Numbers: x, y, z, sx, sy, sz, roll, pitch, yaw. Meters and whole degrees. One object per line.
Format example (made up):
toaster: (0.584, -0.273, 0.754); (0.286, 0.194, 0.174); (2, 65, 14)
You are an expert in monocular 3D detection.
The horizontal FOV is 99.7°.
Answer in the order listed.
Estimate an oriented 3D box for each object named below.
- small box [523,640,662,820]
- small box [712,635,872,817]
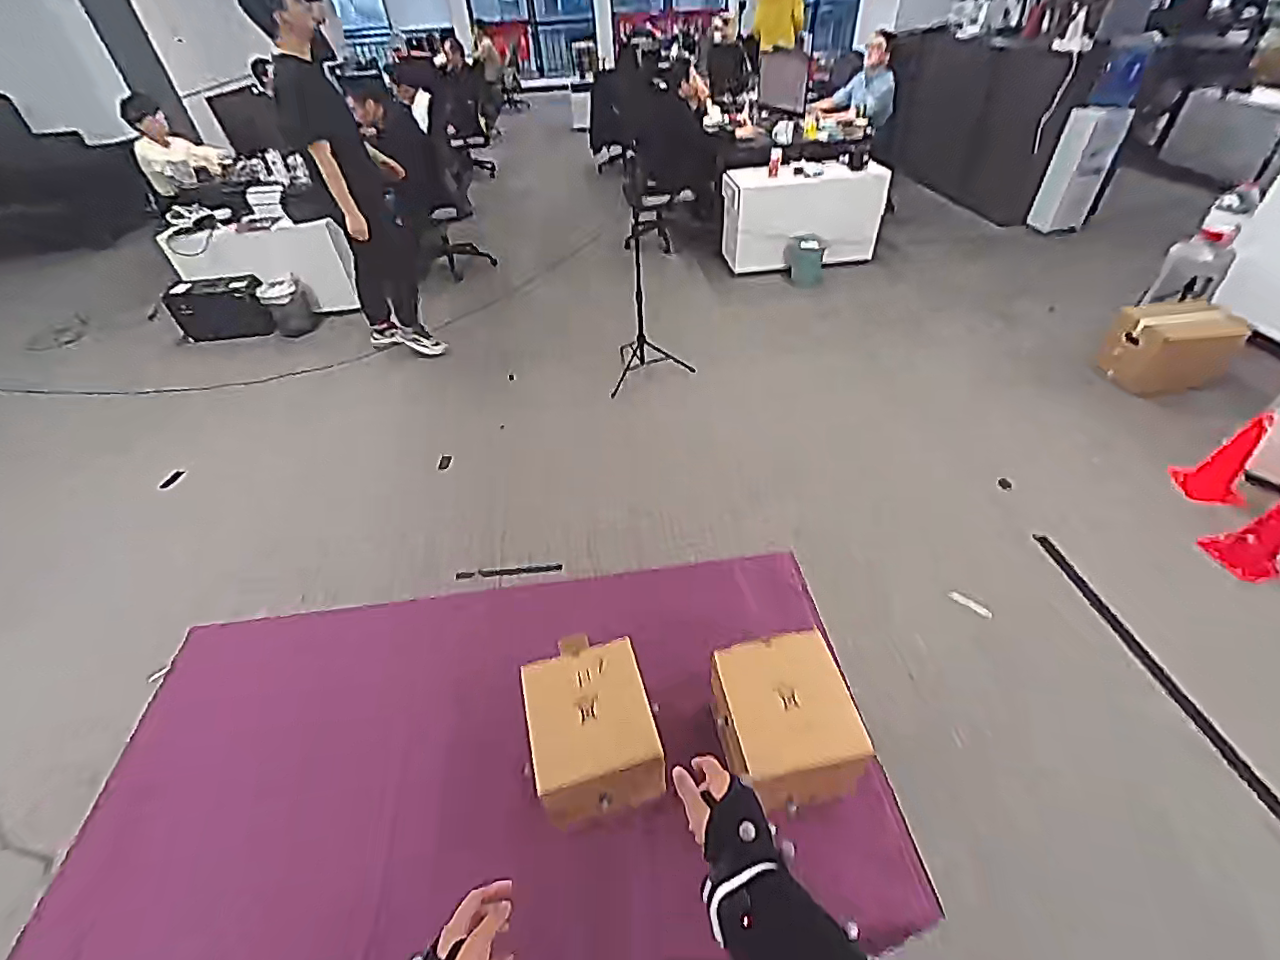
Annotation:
small box: (-0.067, 0.372, 0.794); (0.168, 0.176, 0.179); (-12, 43, -10)
small box: (0.205, 0.358, 0.790); (0.168, 0.176, 0.179); (-9, 43, -5)
